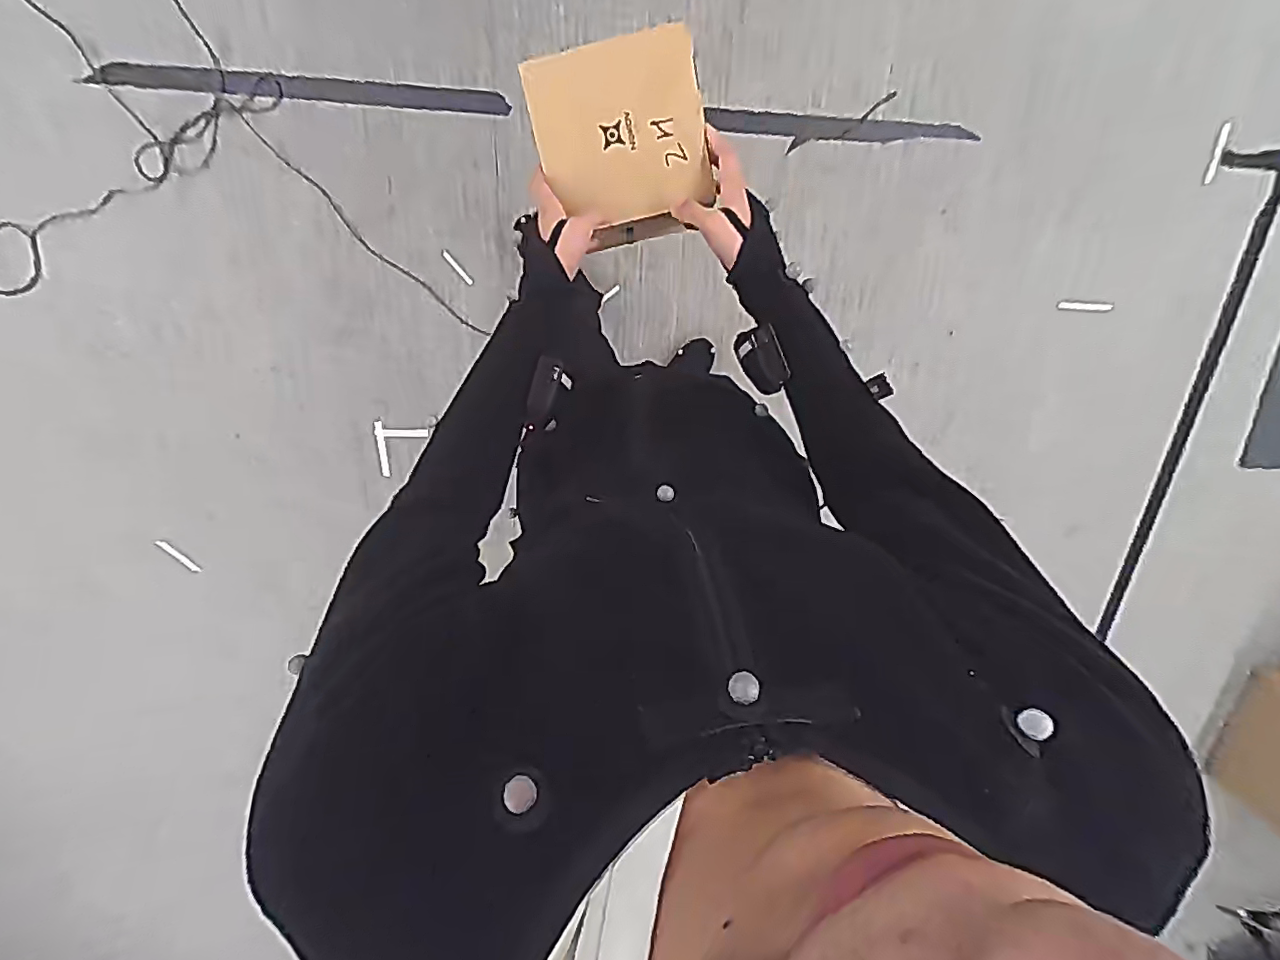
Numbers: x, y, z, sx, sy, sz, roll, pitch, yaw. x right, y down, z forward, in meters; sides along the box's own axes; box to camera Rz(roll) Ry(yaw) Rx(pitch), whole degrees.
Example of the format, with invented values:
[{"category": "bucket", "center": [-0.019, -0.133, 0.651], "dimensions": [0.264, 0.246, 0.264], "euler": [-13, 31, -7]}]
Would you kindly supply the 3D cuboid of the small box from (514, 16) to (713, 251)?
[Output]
[{"category": "small box", "center": [-0.023, -0.372, 0.619], "dimensions": [0.179, 0.176, 0.168], "euler": [-12, 106, 3]}]
